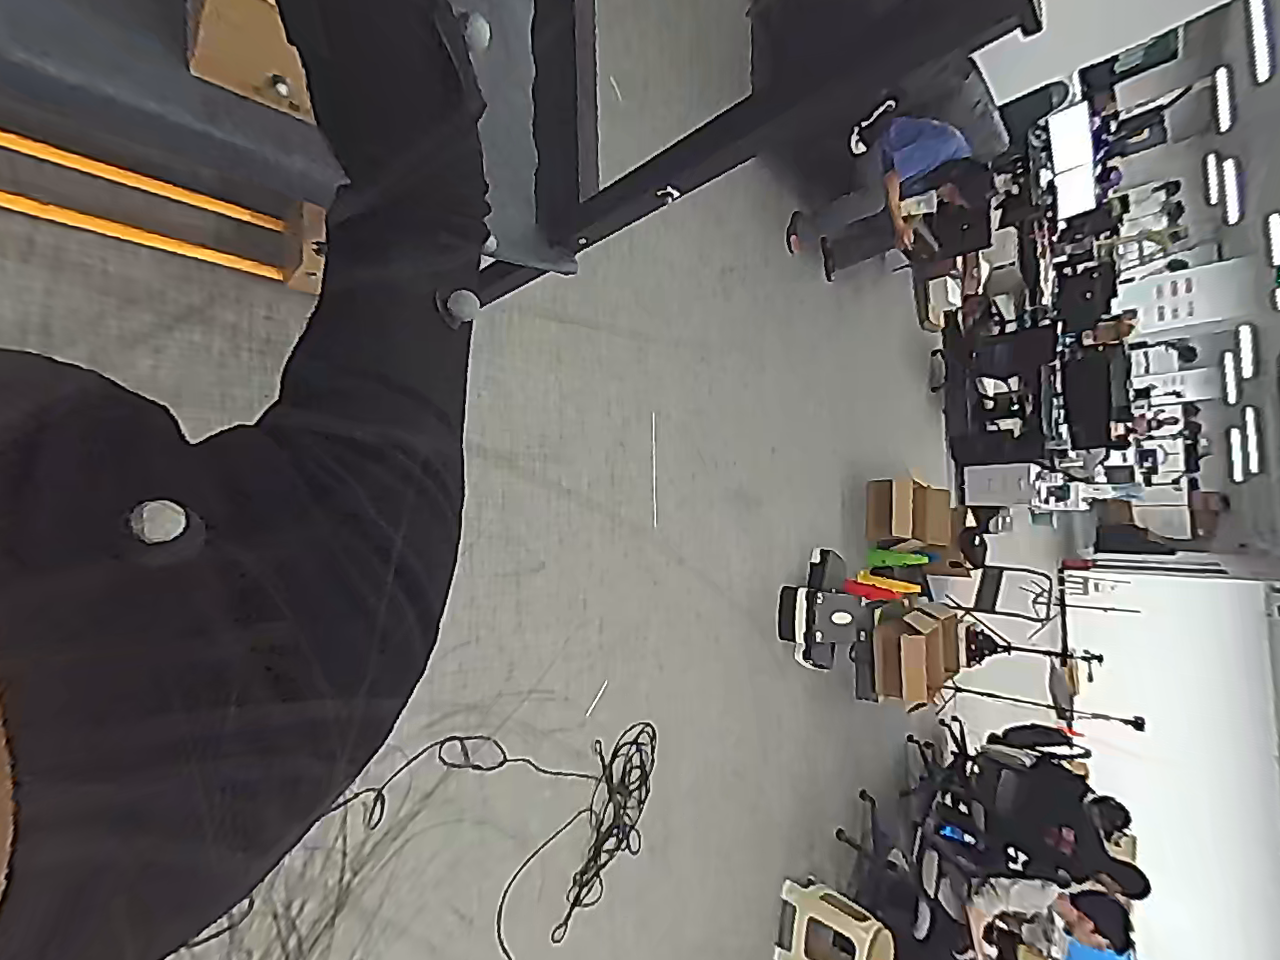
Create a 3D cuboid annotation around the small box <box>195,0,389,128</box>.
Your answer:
[{"bbox_3d":[-0.418,-0.578,0.647,0.168,0.176,0.179,0,86,-45],"label":"small box"}]
